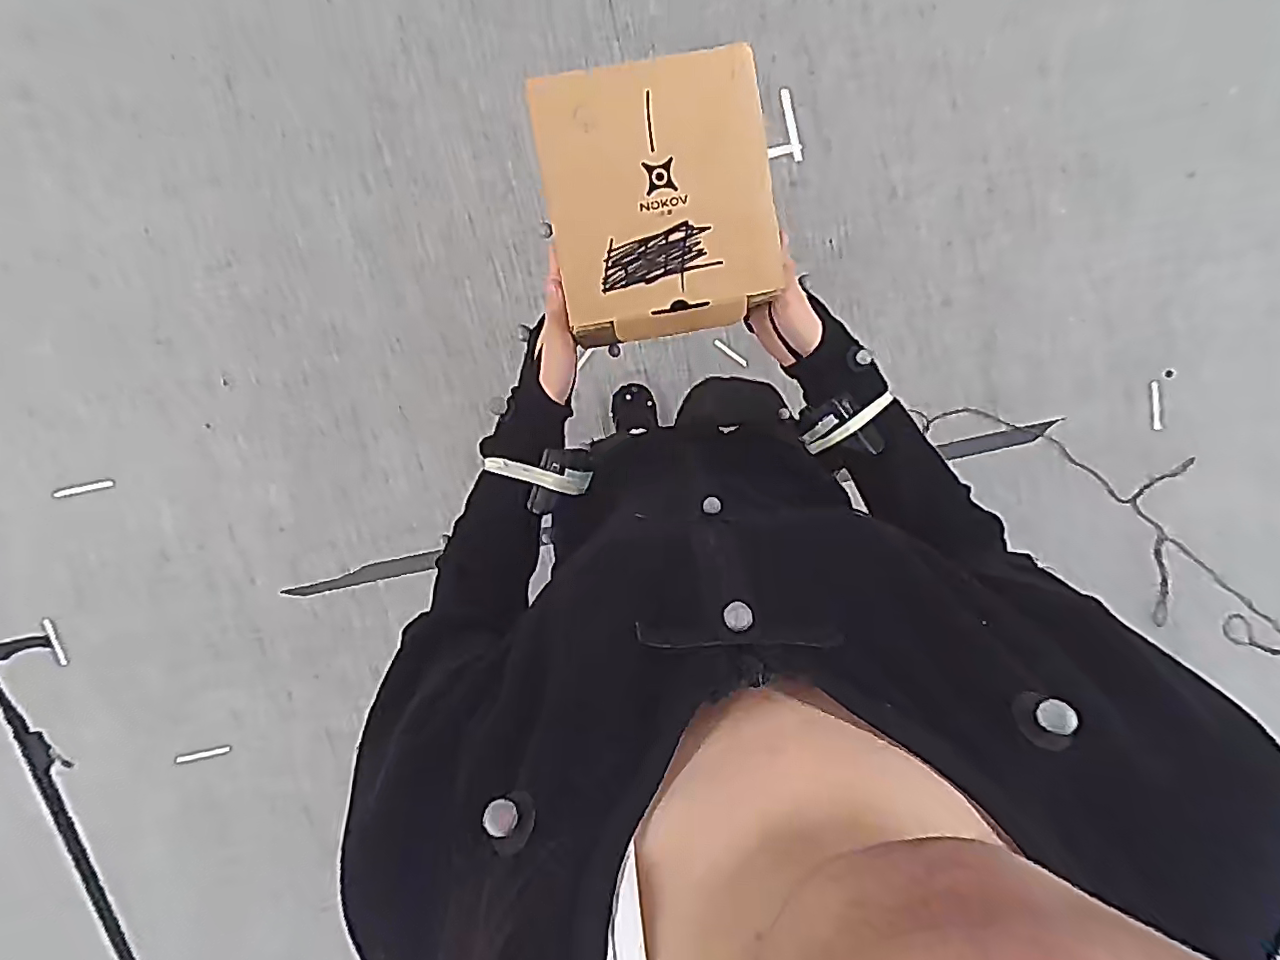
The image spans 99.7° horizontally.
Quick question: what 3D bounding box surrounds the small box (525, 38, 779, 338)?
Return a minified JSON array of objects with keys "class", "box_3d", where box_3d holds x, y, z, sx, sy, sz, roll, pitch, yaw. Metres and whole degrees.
[{"class":"small box","box_3d":[0.009,-0.226,0.472,0.168,0.176,0.179,-10,98,-2]}]
